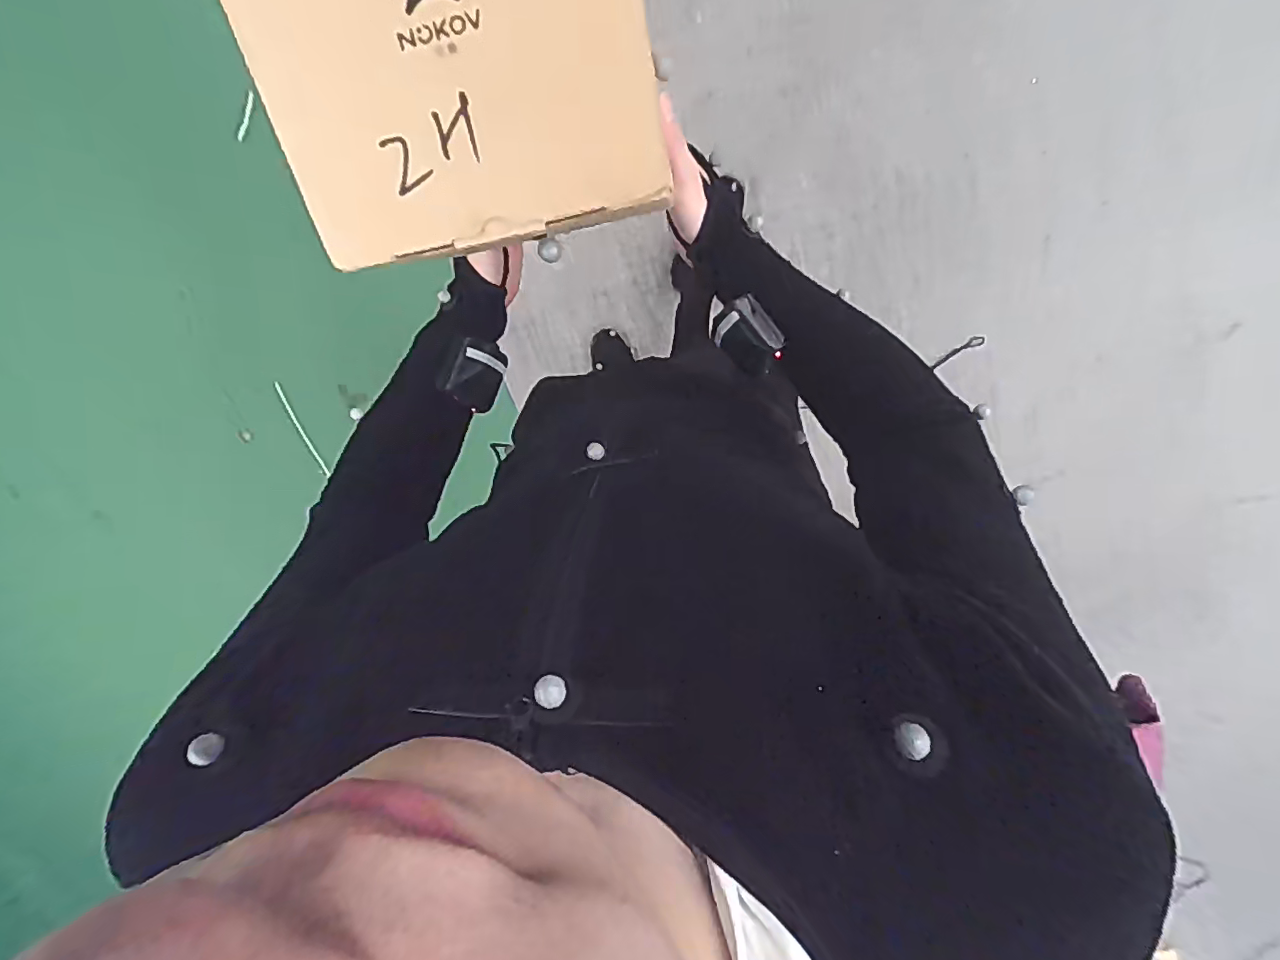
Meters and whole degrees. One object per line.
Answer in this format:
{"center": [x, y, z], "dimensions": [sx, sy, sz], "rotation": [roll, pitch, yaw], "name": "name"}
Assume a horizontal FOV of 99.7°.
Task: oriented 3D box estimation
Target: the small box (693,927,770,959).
{"center": [0.231, 1.221, 1.307], "dimensions": [0.168, 0.176, 0.179], "rotation": [-17, 110, 9], "name": "small box"}

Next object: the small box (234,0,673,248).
{"center": [-0.077, -0.231, 0.284], "dimensions": [0.168, 0.176, 0.179], "rotation": [-9, 115, 8], "name": "small box"}
